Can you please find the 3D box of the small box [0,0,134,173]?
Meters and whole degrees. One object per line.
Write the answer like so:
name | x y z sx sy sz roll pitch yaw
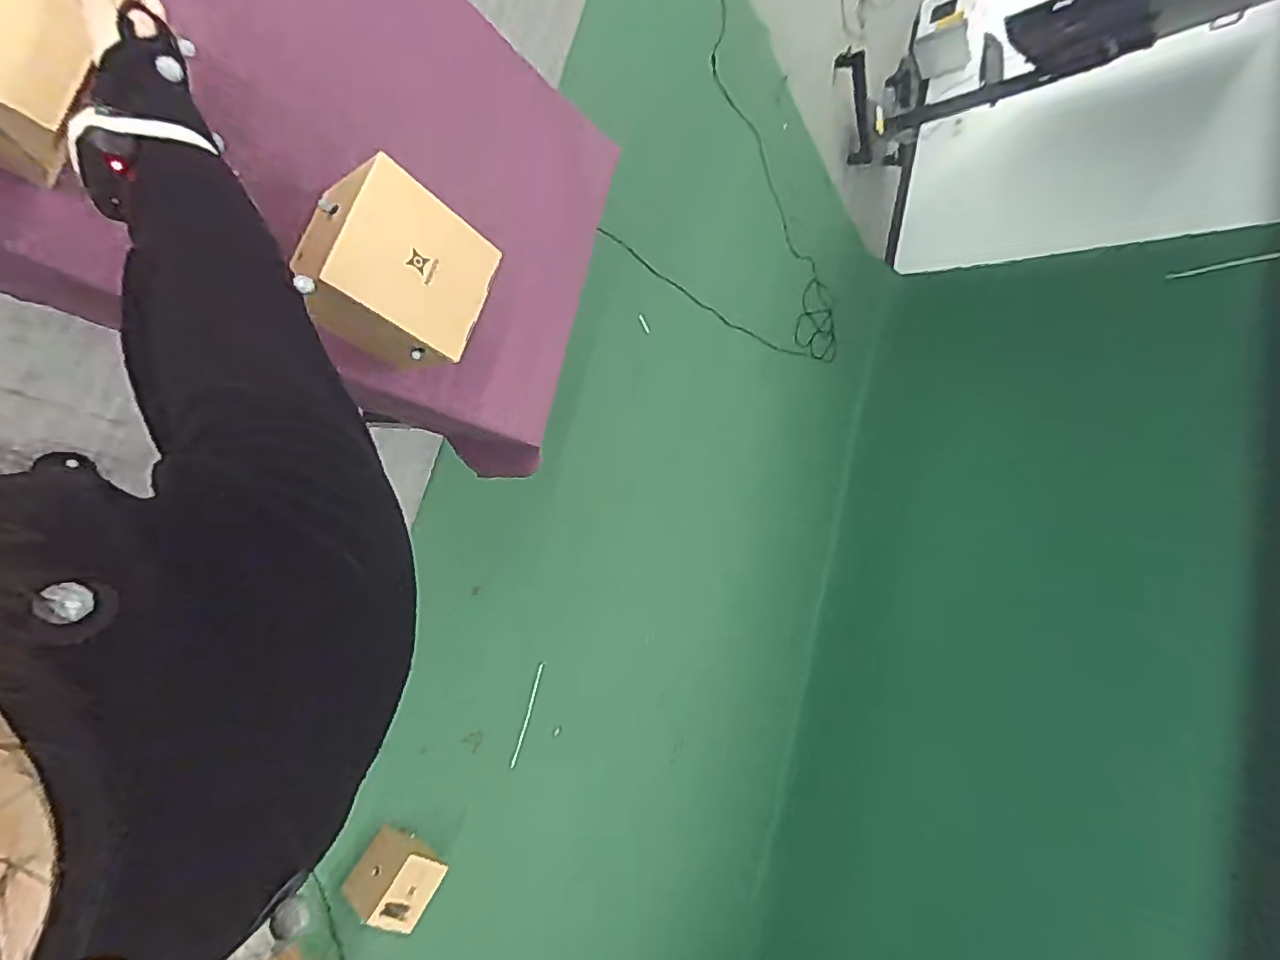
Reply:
small box | -0.539 -0.371 0.416 0.179 0.176 0.168 25 76 -48

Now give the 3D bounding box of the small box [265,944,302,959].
small box | -0.909 1.328 1.349 0.179 0.176 0.168 -36 122 -39

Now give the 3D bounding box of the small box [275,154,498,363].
small box | -0.321 -0.259 0.685 0.179 0.176 0.168 31 72 -47
